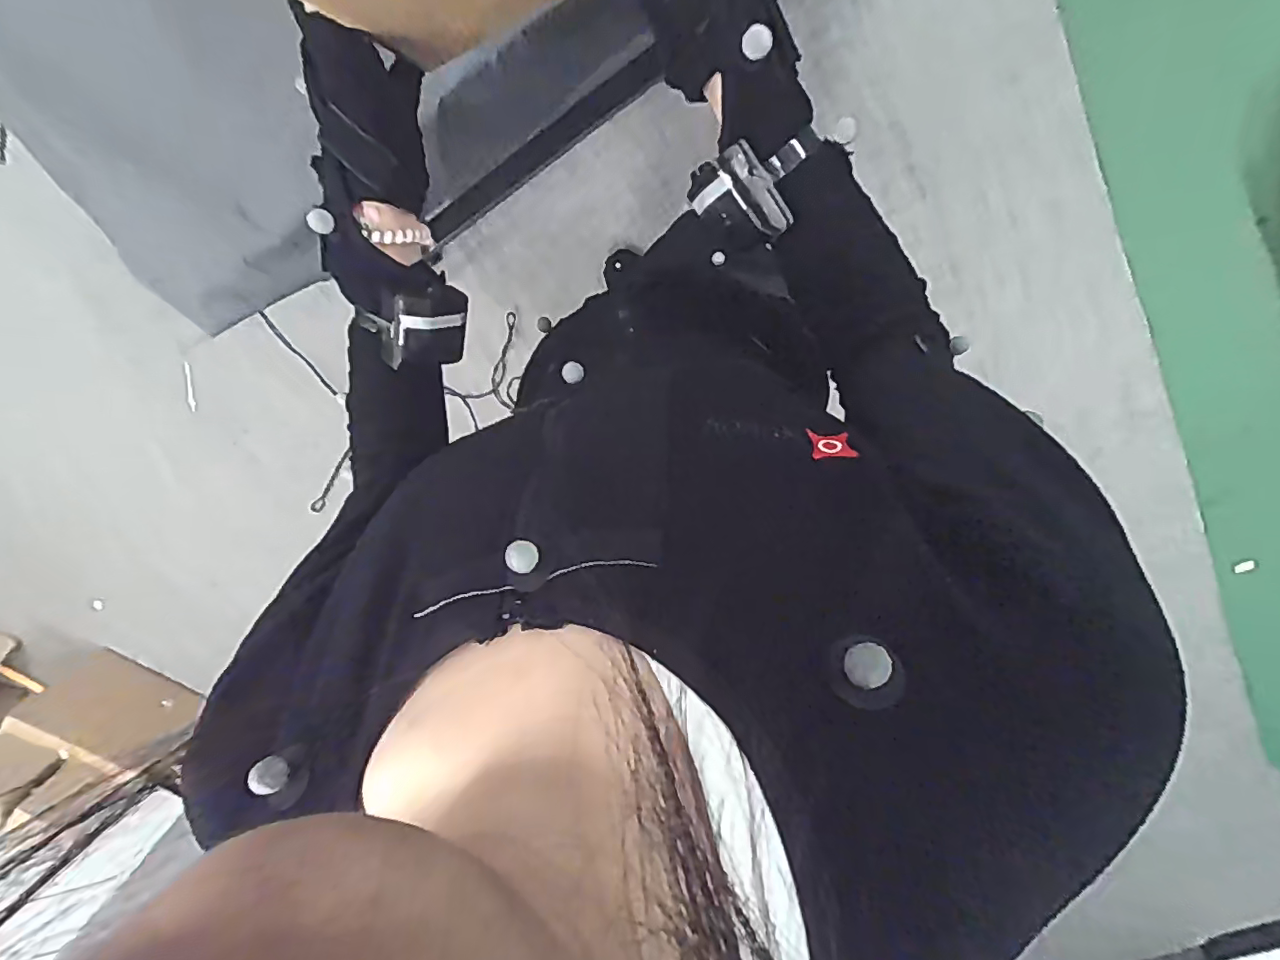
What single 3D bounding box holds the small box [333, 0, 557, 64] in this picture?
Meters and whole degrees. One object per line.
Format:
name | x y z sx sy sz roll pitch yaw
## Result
small box | -0.118 -0.361 0.280 0.179 0.176 0.168 -18 112 12
